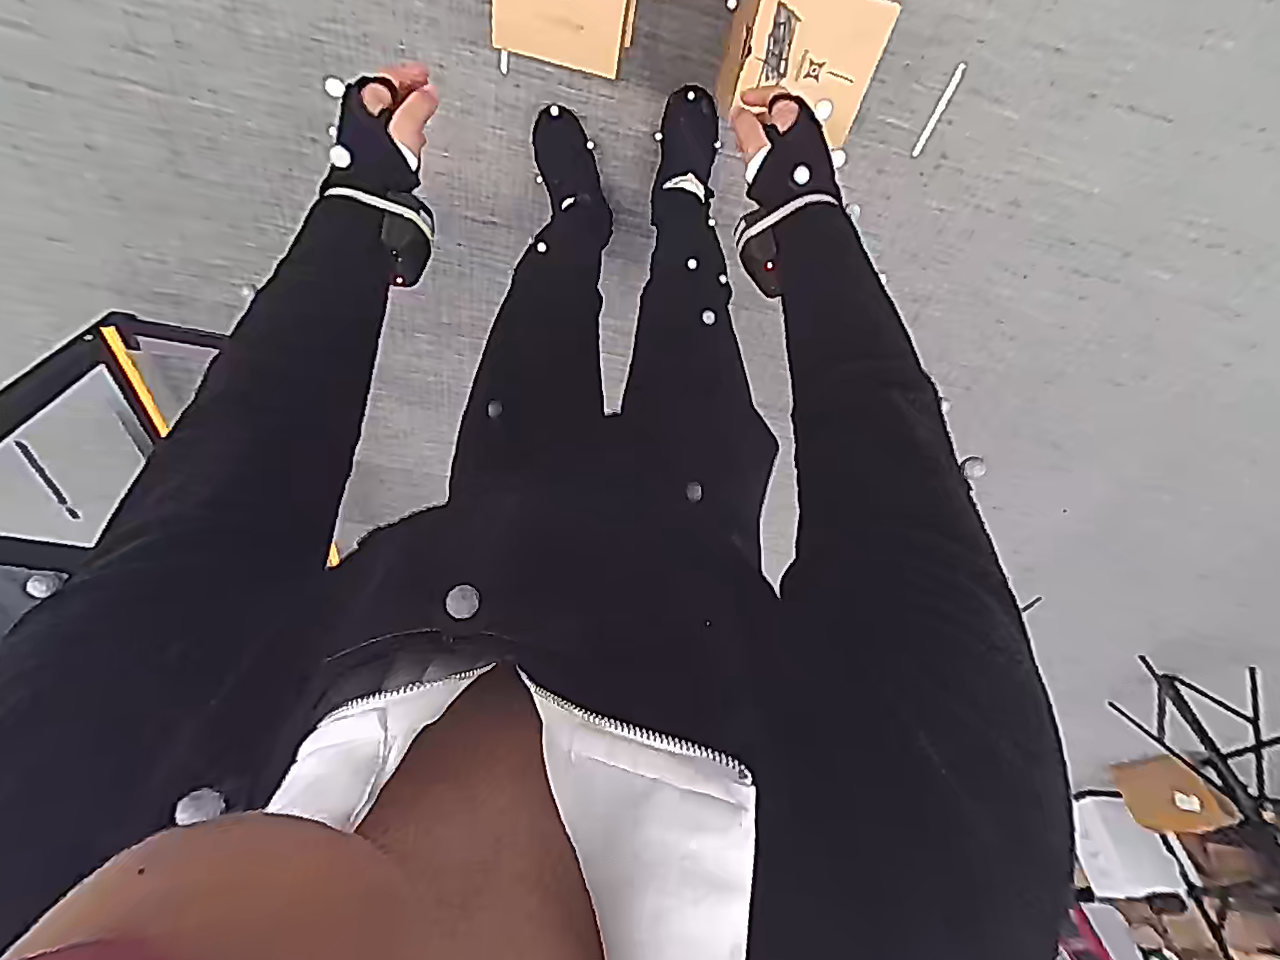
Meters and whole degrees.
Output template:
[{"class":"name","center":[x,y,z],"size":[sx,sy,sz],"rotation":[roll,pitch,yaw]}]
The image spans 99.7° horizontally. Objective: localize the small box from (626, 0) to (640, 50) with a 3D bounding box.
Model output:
[{"class":"small box","center":[-0.080,-0.781,0.811],"size":[0.179,0.176,0.168],"rotation":[9,136,-7]}]

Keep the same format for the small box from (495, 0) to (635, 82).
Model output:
[{"class":"small box","center":[-0.087,-0.660,0.703],"size":[0.168,0.176,0.179],"rotation":[10,137,-7]}]

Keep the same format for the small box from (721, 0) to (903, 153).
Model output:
[{"class":"small box","center":[0.223,-0.595,0.761],"size":[0.179,0.176,0.168],"rotation":[9,136,-9]}]
